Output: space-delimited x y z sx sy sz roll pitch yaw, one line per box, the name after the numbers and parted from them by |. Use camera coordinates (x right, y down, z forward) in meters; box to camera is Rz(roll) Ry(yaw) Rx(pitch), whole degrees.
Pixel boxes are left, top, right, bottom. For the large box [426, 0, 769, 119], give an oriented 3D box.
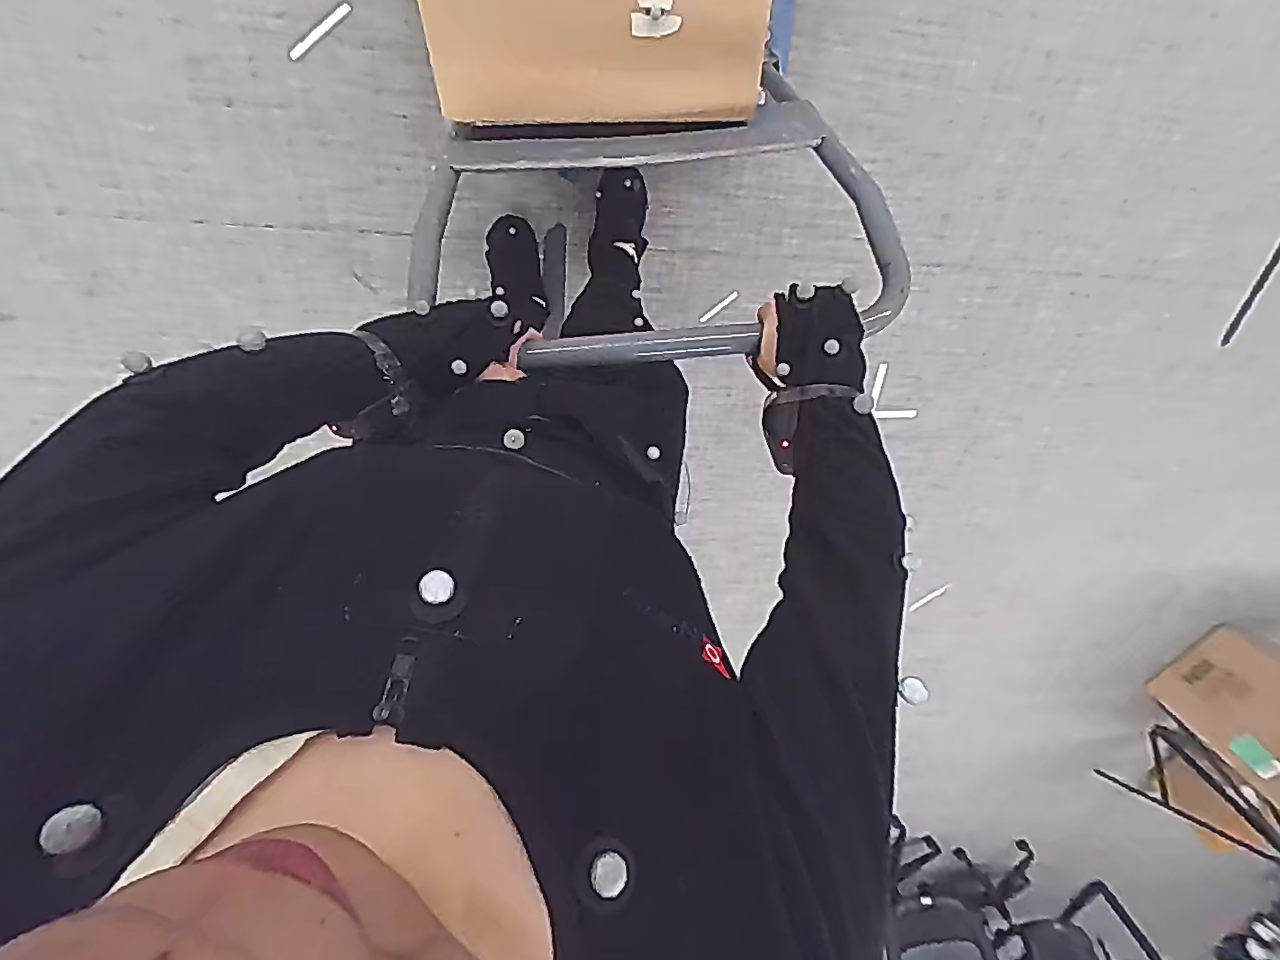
-0.061 -0.688 0.691 0.408 0.320 0.320 -4 138 -5 | large box
